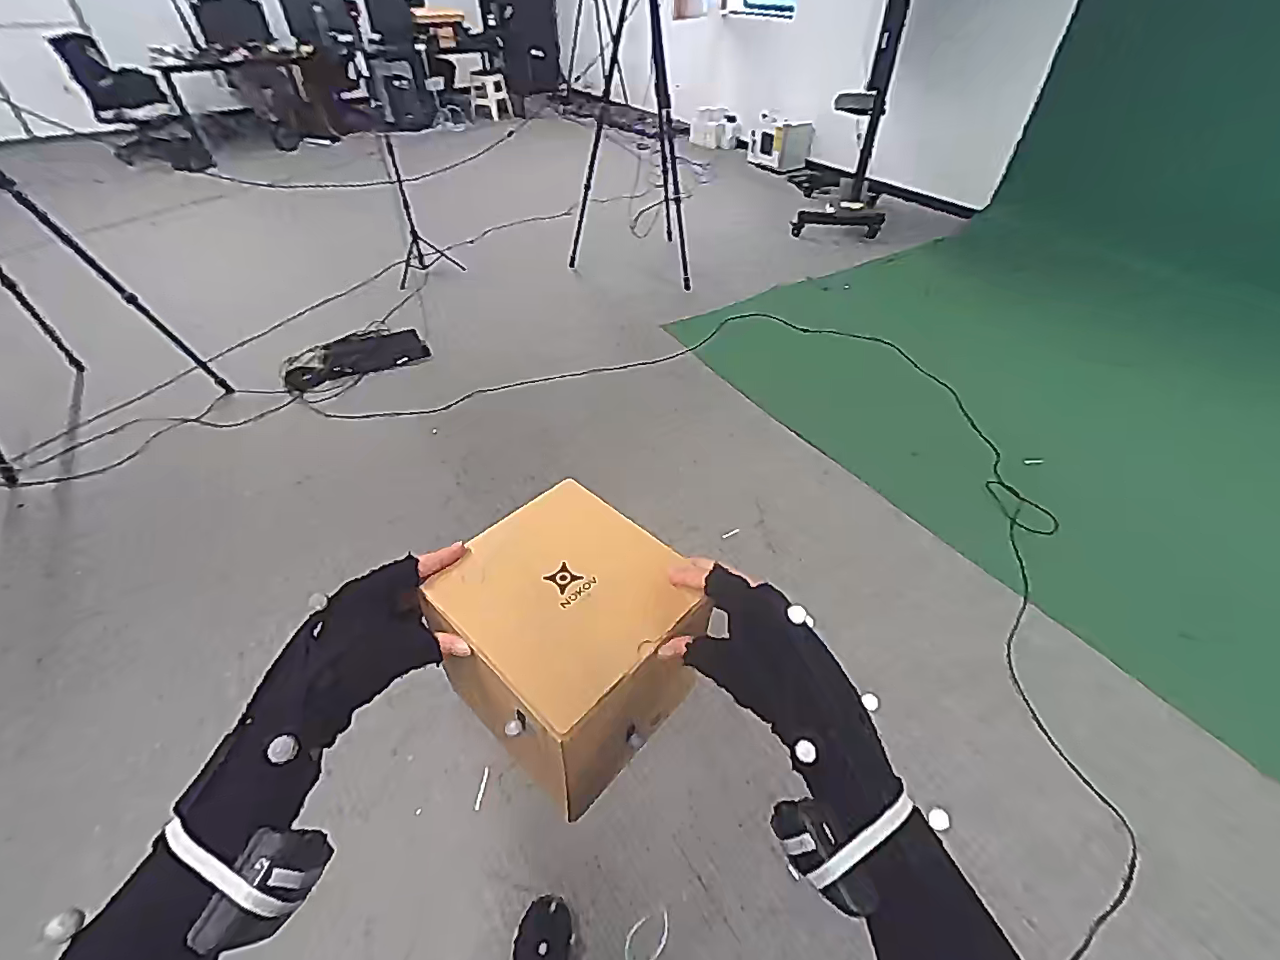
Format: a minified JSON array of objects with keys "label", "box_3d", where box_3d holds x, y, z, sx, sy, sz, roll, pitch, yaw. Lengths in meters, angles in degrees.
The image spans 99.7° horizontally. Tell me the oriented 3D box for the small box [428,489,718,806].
[{"label":"small box","box_3d":[-0.059,0.145,0.484,0.179,0.176,0.168,35,50,28]}]
